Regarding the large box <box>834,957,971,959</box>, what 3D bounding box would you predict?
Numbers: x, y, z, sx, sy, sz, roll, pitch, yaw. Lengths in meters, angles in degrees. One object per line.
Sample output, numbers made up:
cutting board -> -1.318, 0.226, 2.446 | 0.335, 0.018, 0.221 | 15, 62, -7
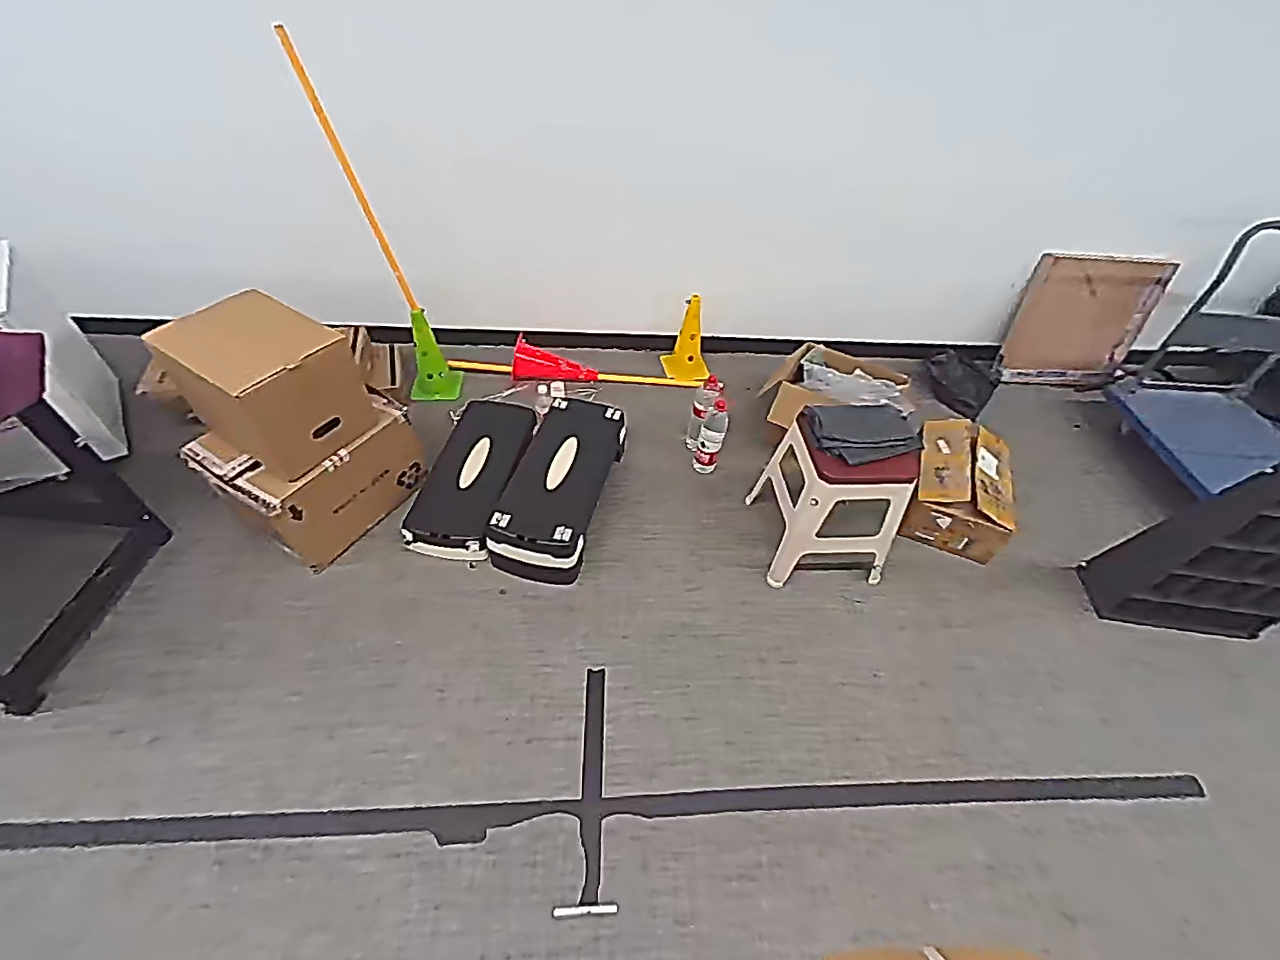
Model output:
large box -> 0.423, 0.800, 0.556 | 0.320, 0.408, 0.320 | 1, 78, -2
